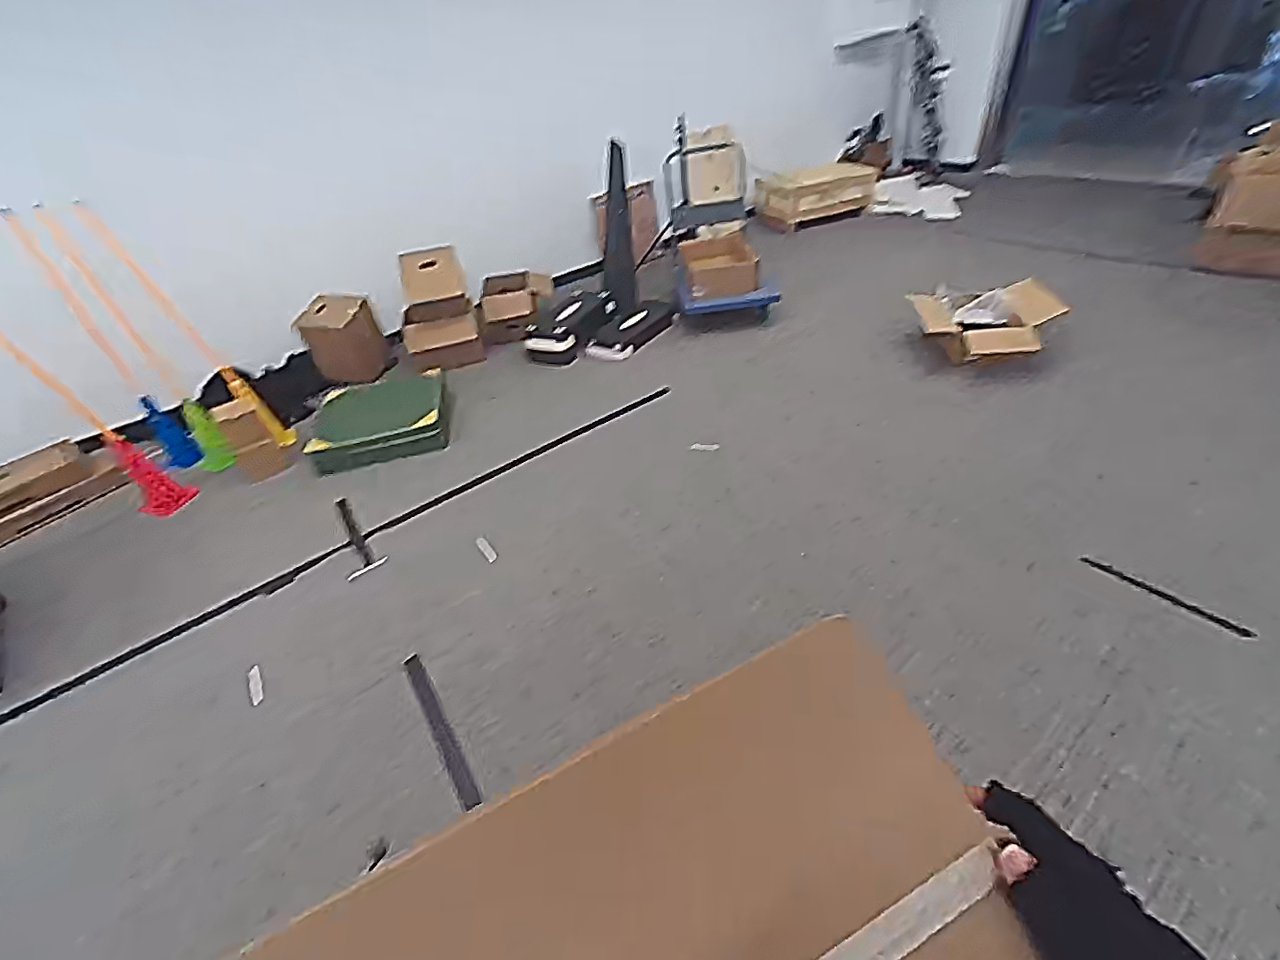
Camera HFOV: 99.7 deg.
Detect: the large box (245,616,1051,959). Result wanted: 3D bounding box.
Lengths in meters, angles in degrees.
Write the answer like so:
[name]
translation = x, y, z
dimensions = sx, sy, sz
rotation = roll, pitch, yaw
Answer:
[large box]
translation = 0.020, 0.361, 0.416
dimensions = 0.408, 0.320, 0.320
rotation = -25, 70, -13
